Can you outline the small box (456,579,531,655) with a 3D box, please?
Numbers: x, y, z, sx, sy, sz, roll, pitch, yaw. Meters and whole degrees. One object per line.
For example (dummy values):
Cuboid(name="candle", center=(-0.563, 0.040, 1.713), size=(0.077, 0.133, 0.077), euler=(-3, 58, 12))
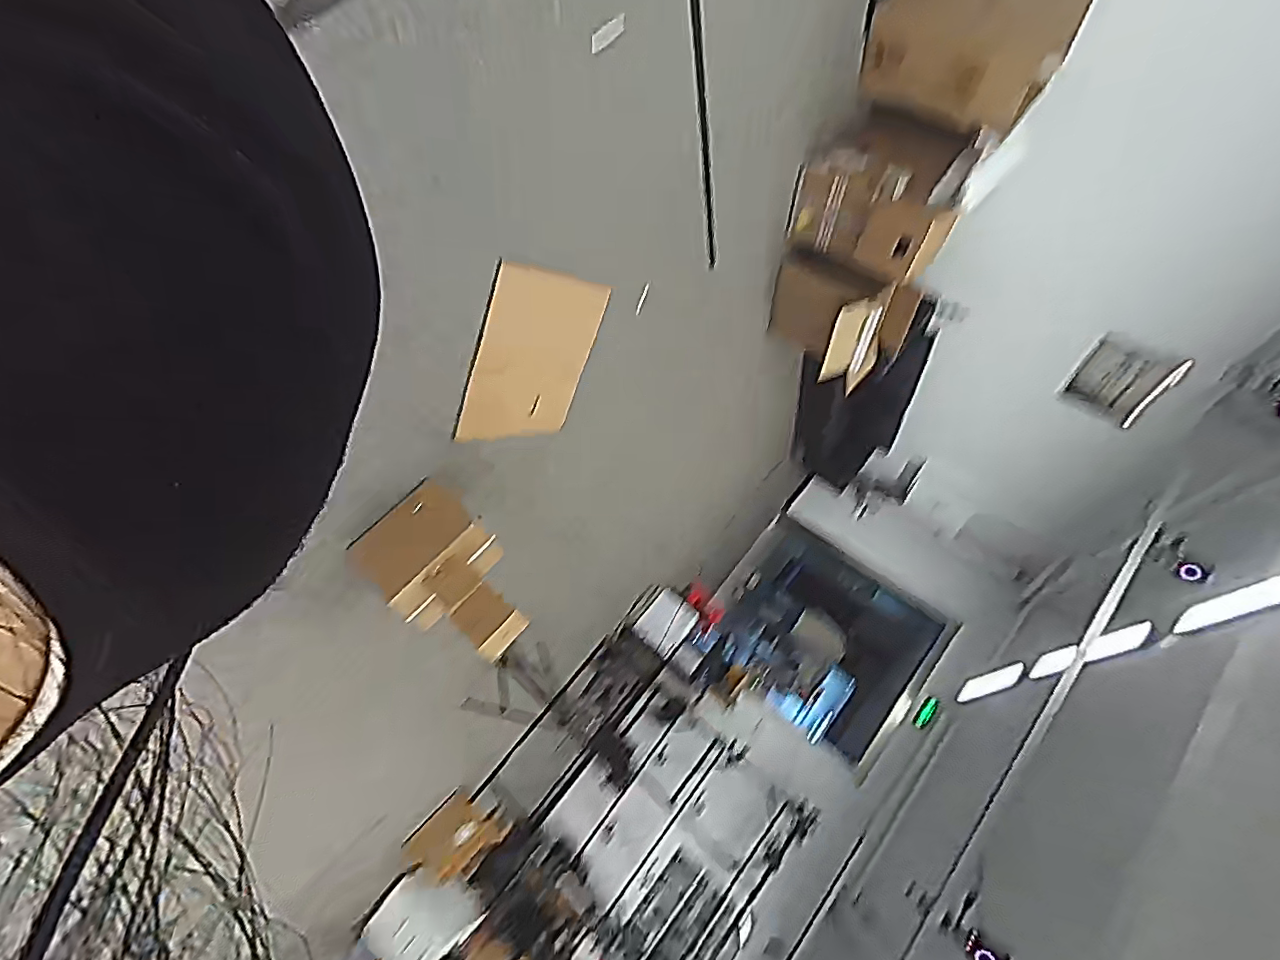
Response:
Cuboid(name="small box", center=(-0.522, 0.483, 1.909), size=(0.179, 0.176, 0.168), euler=(-48, 155, -18))
